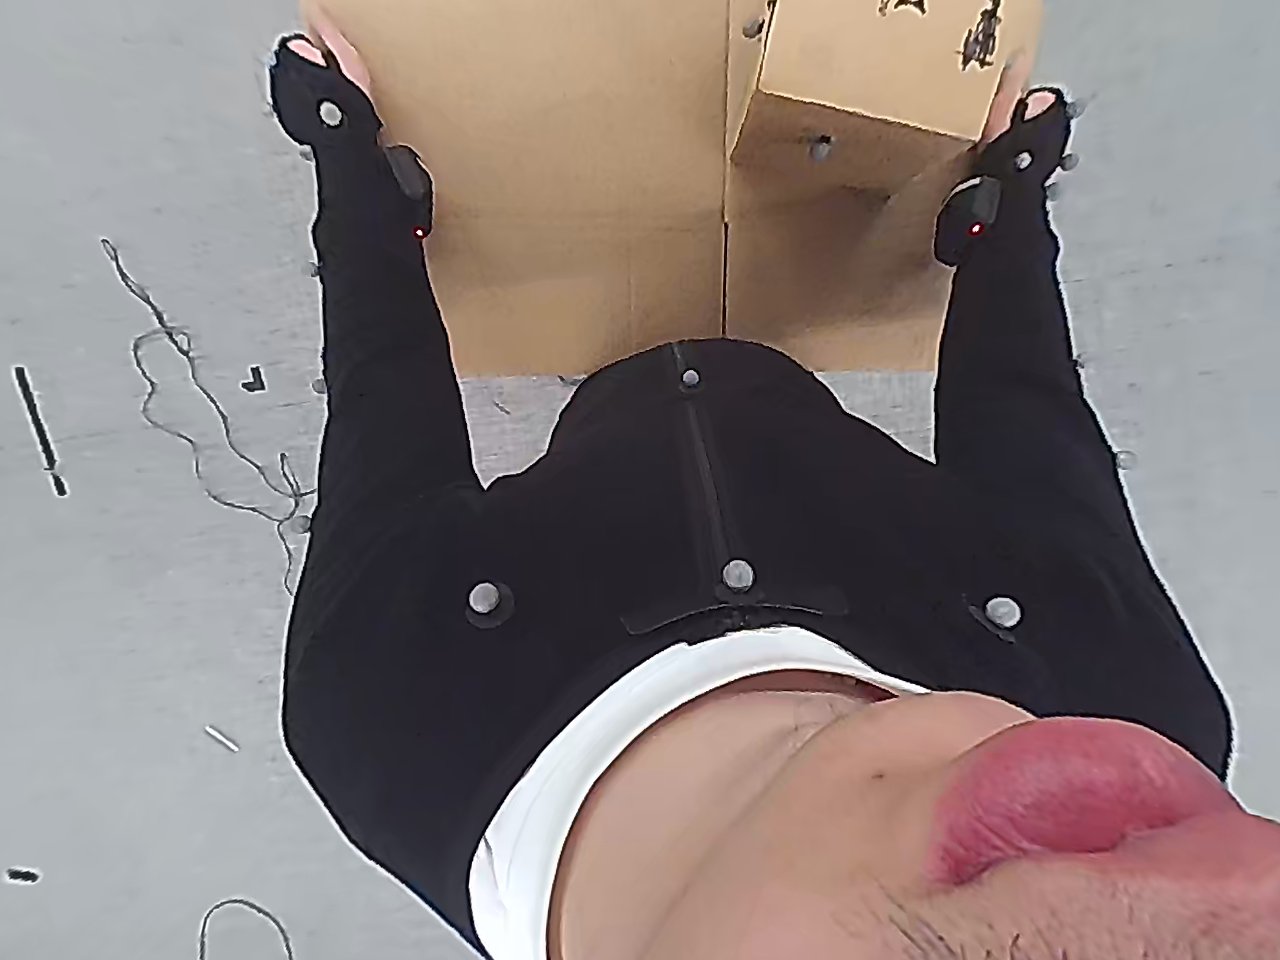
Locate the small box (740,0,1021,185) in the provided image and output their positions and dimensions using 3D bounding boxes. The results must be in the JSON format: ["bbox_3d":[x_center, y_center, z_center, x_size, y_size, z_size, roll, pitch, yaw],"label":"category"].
[{"bbox_3d":[0.194,-0.377,0.467,0.179,0.176,0.168,13,106,1],"label":"small box"}]
